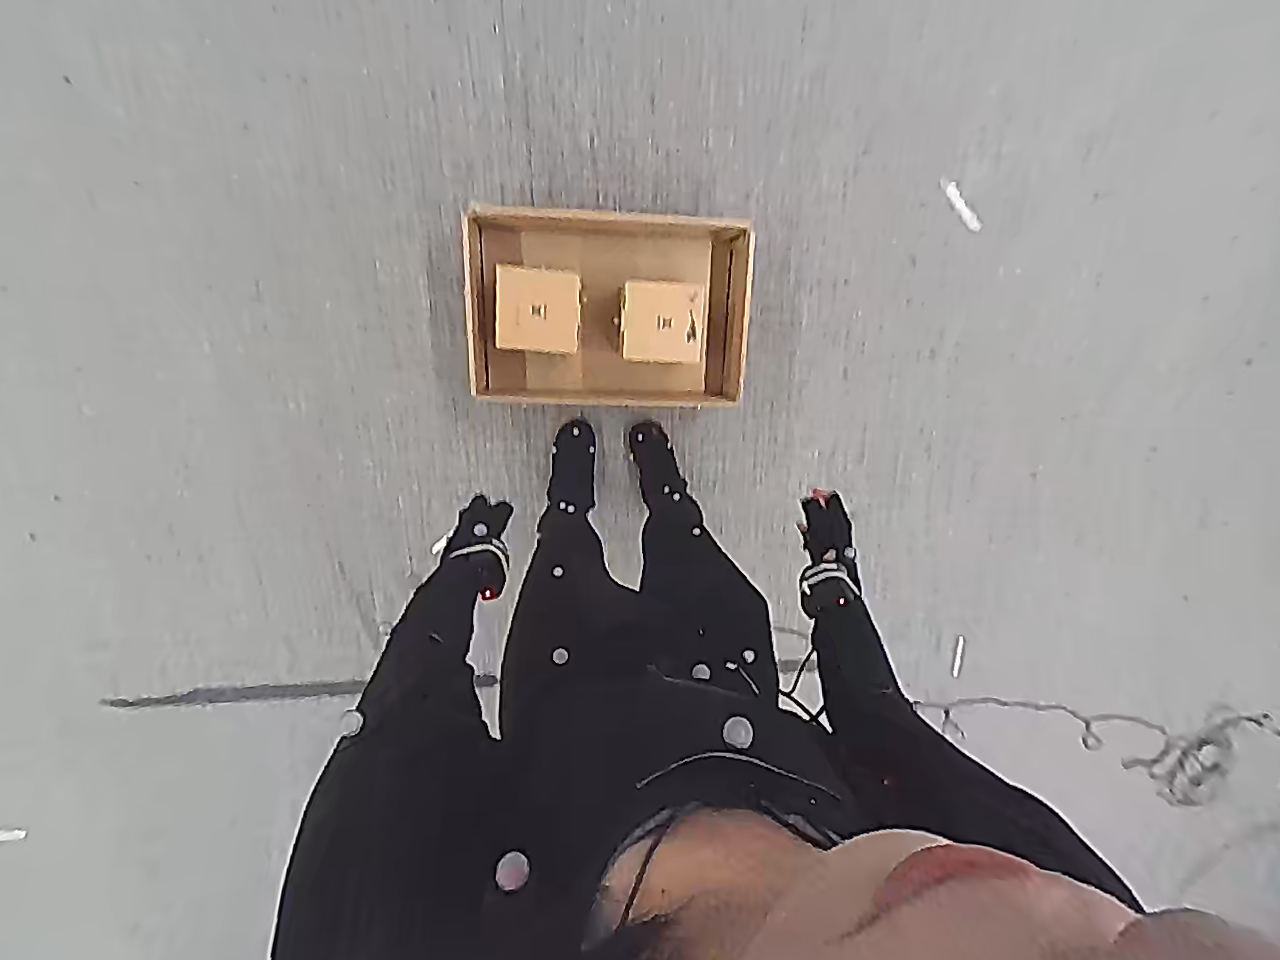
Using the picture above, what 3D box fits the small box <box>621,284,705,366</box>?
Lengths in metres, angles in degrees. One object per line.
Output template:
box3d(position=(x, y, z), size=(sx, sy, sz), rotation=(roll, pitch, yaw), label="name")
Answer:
box3d(position=(0.046, -0.355, 1.253), size=(0.179, 0.176, 0.168), rotation=(1, 105, -5), label="small box")

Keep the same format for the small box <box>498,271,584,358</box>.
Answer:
box3d(position=(-0.220, -0.368, 1.220), size=(0.179, 0.176, 0.168), rotation=(3, 104, -7), label="small box")
